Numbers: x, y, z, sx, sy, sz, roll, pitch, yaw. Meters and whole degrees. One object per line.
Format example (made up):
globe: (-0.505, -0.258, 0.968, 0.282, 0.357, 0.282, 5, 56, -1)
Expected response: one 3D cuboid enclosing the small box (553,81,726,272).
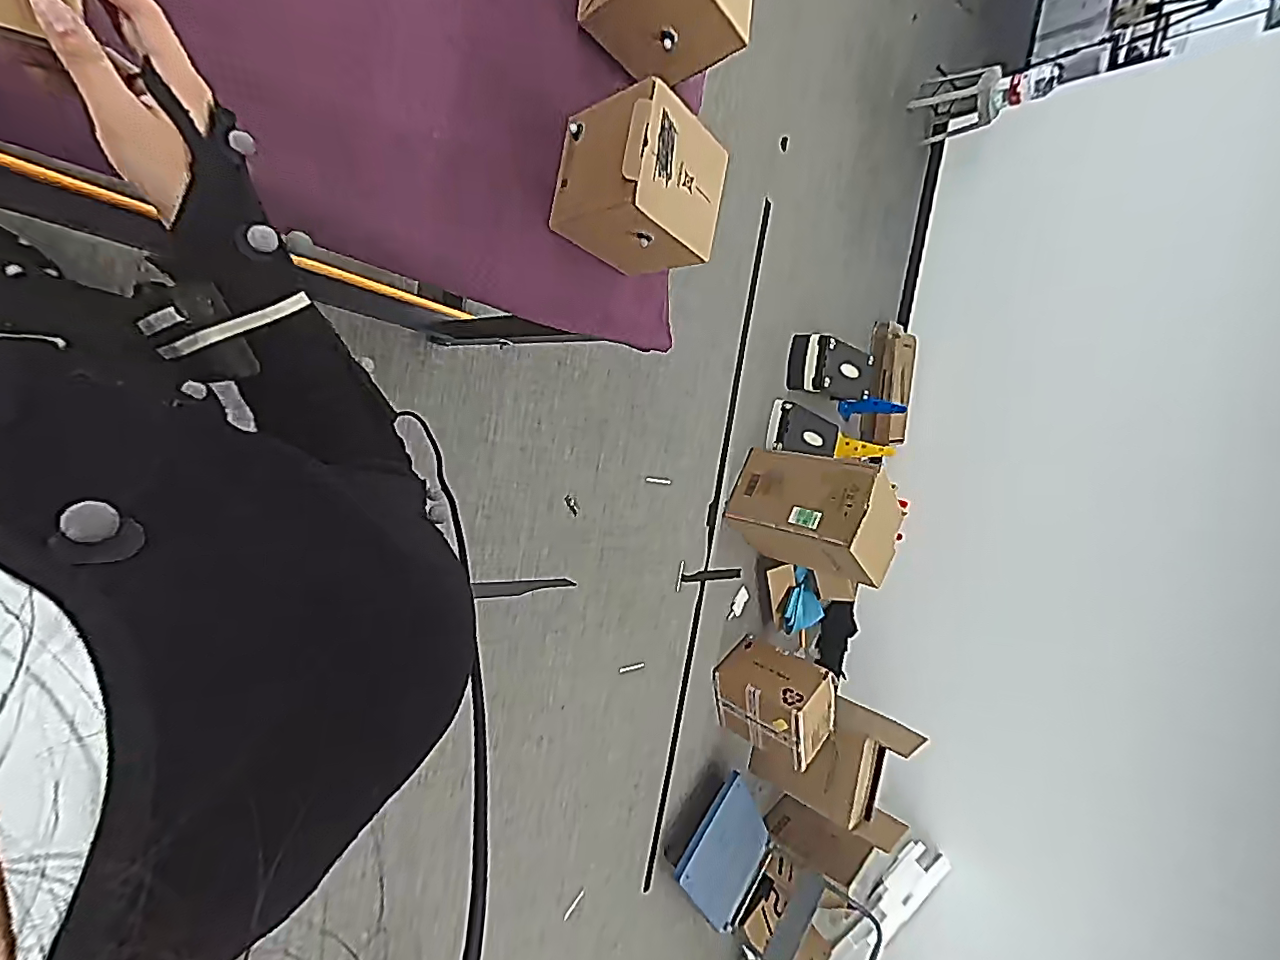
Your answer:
small box: (-0.003, -0.418, 0.787, 0.179, 0.176, 0.168, 11, 90, -49)
